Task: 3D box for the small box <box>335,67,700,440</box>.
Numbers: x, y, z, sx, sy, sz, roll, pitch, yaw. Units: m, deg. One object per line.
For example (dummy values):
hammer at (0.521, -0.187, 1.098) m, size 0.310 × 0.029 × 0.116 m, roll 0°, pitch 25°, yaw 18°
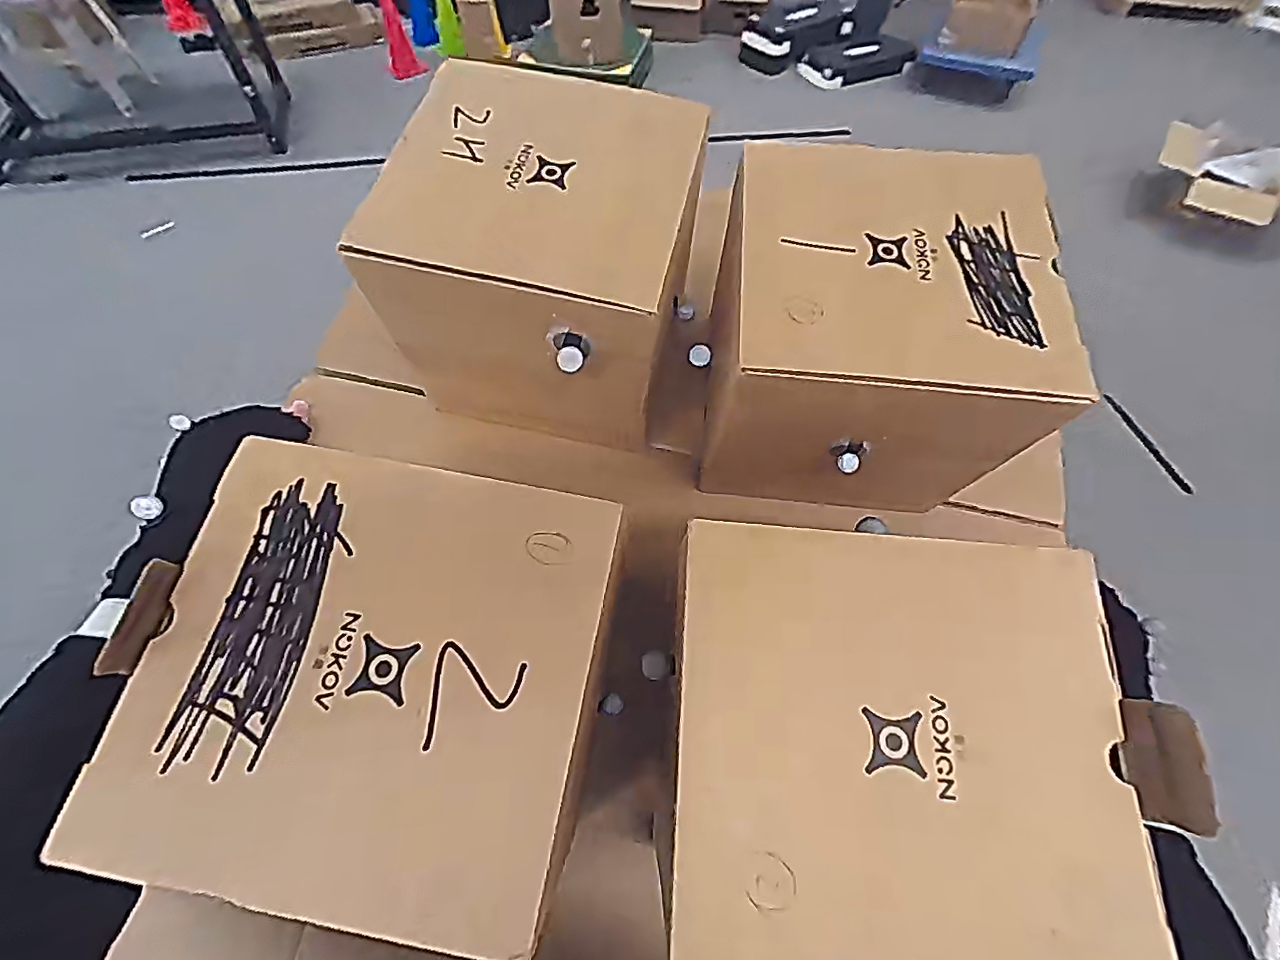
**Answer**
small box at (-0.067, -0.146, 0.392) m, size 0.179 × 0.176 × 0.168 m, roll 13°, pitch 67°, yaw 4°
